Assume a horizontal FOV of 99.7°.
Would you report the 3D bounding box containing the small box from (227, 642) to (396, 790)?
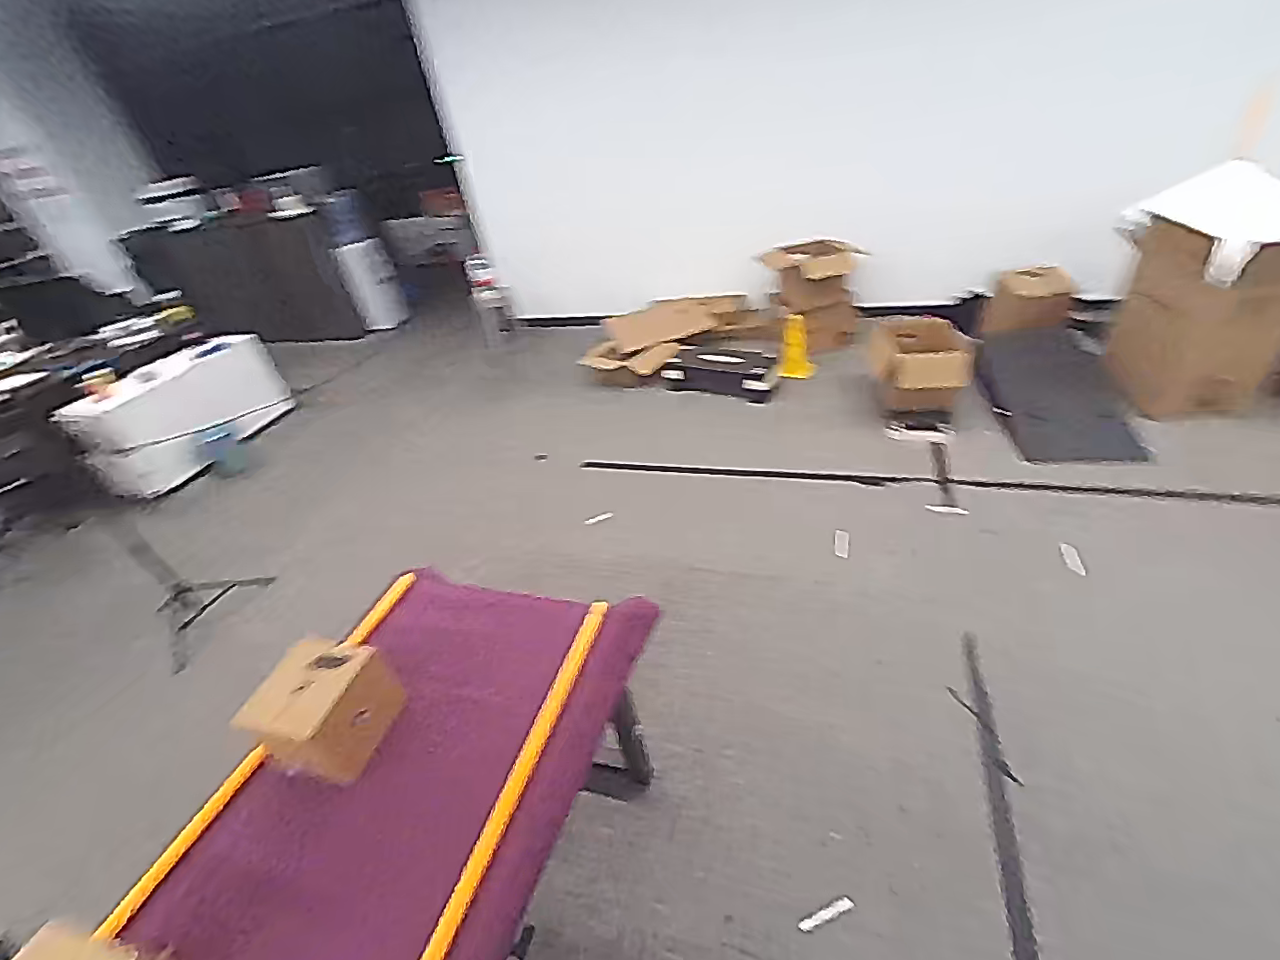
[{"bbox_3d":[-0.578,0.427,0.985,0.168,0.176,0.179,2,40,16],"label":"small box"}]
